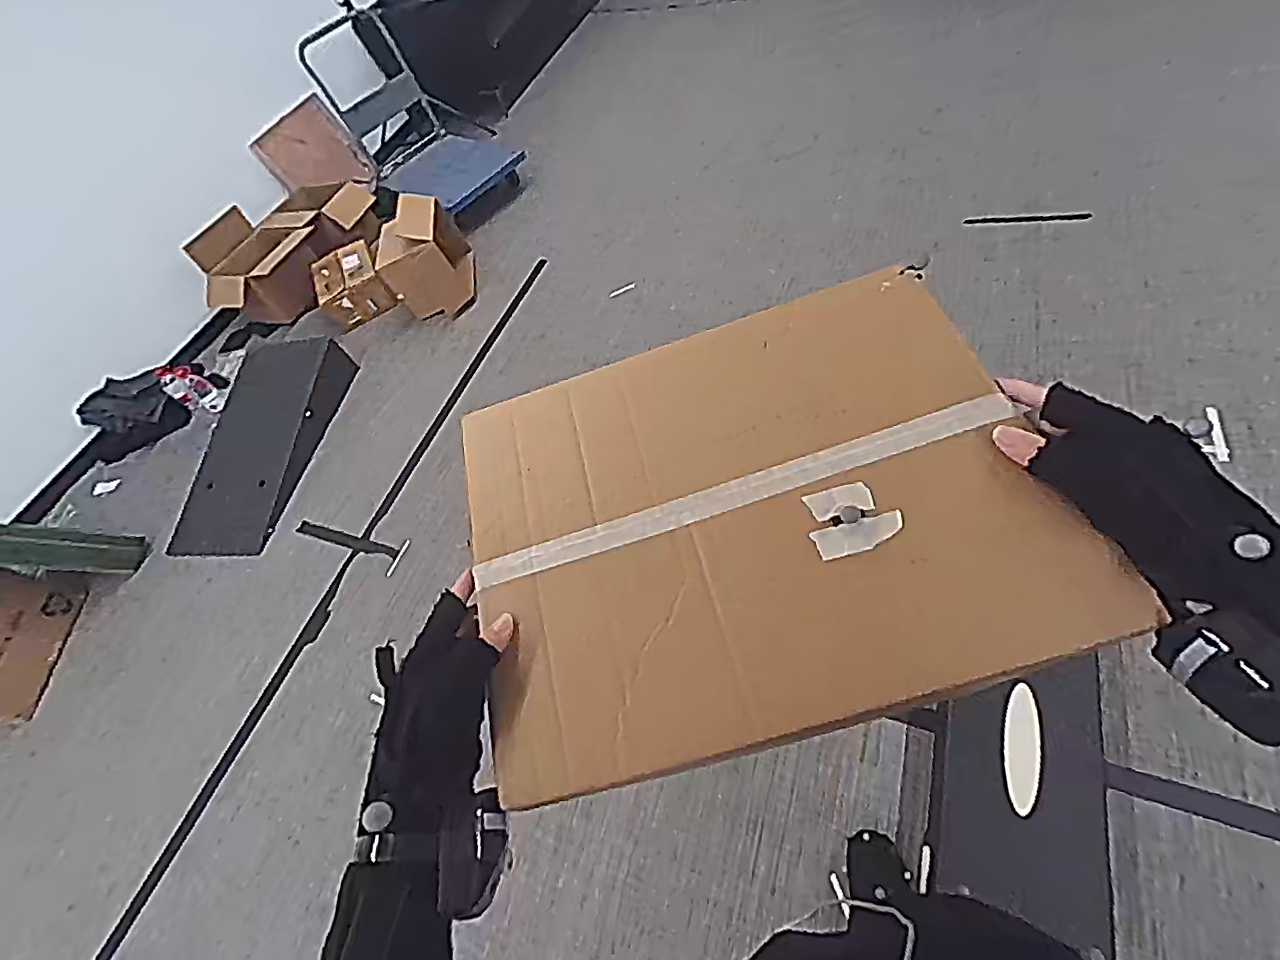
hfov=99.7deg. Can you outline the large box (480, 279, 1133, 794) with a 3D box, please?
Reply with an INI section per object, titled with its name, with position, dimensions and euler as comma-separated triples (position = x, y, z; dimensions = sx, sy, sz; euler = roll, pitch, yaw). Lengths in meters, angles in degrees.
[large box]
position = 0.106, 0.080, 0.538
dimensions = 0.408, 0.320, 0.320
euler = -18, 61, 4
